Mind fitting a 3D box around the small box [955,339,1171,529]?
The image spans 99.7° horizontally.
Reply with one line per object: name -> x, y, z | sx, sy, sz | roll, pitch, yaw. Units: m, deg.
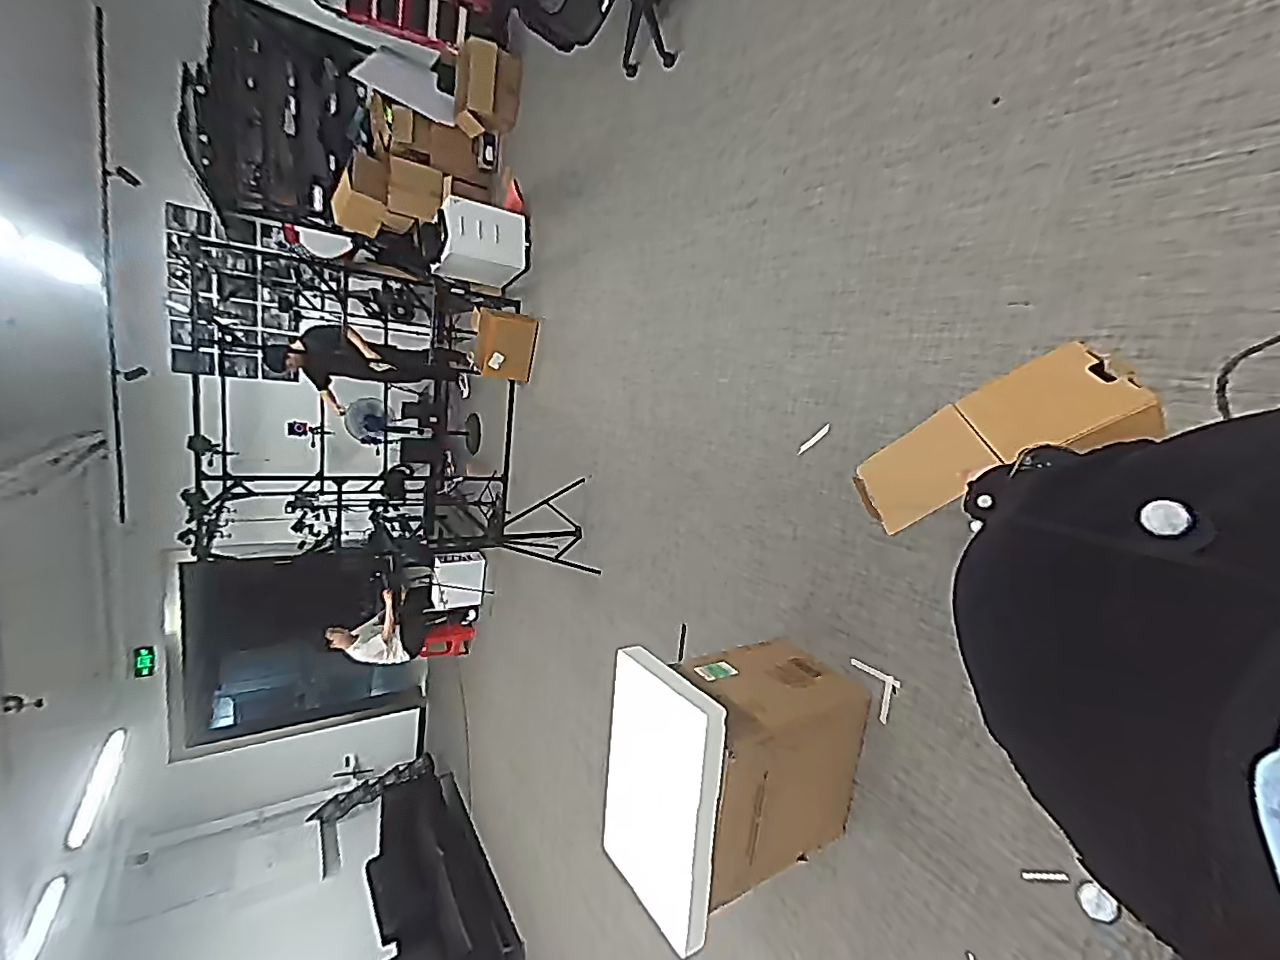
small box -> 0.597, -0.059, 0.771 | 0.179, 0.176, 0.168 | -30, 33, 23
